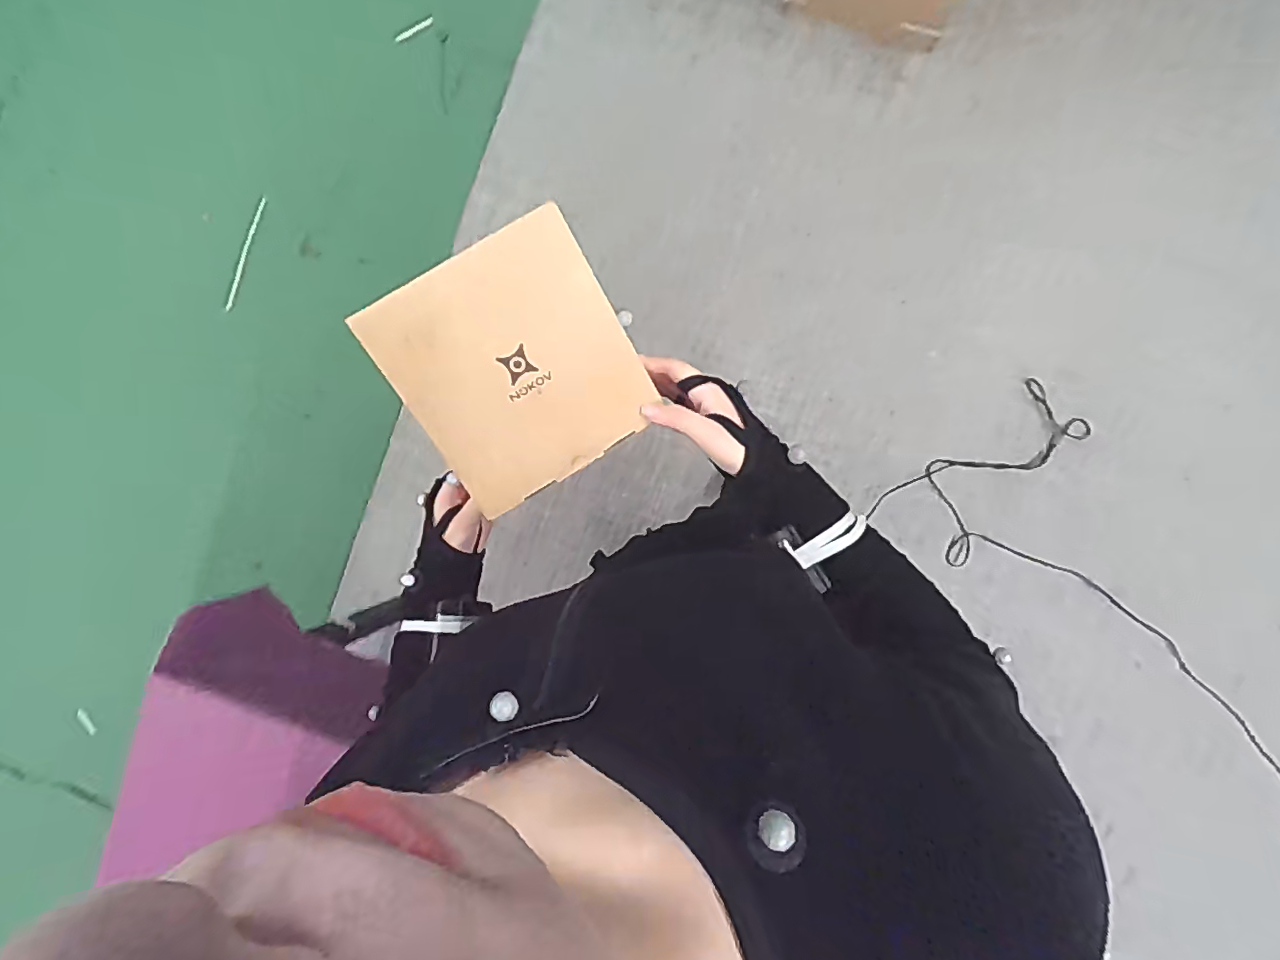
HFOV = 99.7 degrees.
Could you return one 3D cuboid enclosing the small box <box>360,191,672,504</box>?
[{"bbox_3d":[-0.100,-0.110,0.470,0.168,0.176,0.179,-30,111,-3],"label":"small box"}]
